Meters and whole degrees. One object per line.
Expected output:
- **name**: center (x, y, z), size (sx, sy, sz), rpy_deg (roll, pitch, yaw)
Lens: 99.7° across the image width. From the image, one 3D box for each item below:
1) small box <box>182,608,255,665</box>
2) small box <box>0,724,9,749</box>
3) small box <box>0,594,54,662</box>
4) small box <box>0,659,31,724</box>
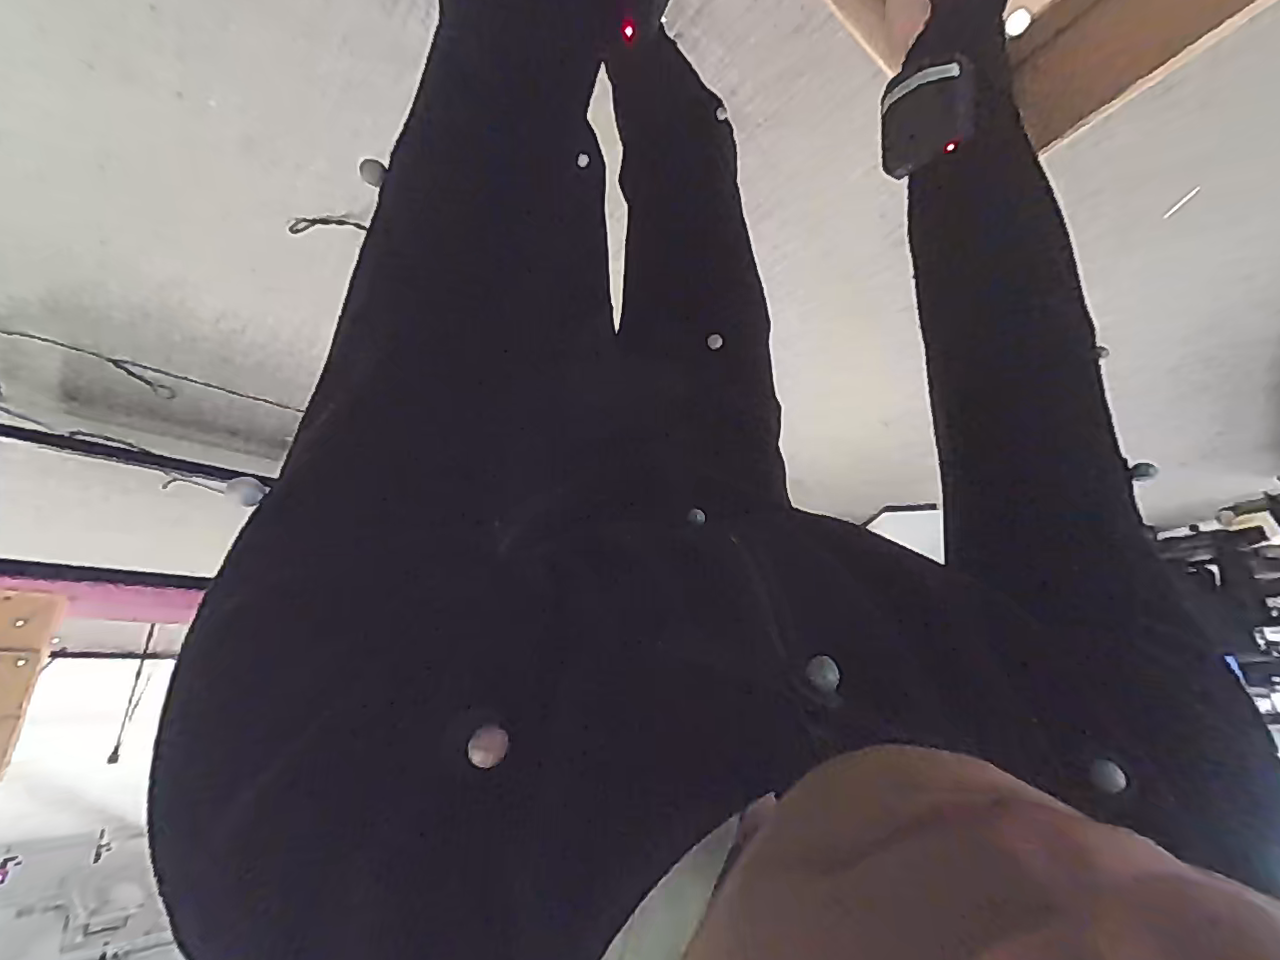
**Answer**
- **small box**: center (-1.424, 0.536, 1.829), size (0.168, 0.176, 0.179), rpy_deg (14, 152, -35)
- **small box**: center (-1.776, 0.718, 1.388), size (0.168, 0.176, 0.179), rpy_deg (18, 150, -41)
- **small box**: center (-1.790, 0.416, 1.513), size (0.168, 0.176, 0.179), rpy_deg (16, 152, -38)
- **small box**: center (-1.779, 0.565, 1.444), size (0.168, 0.176, 0.179), rpy_deg (18, 152, -40)
